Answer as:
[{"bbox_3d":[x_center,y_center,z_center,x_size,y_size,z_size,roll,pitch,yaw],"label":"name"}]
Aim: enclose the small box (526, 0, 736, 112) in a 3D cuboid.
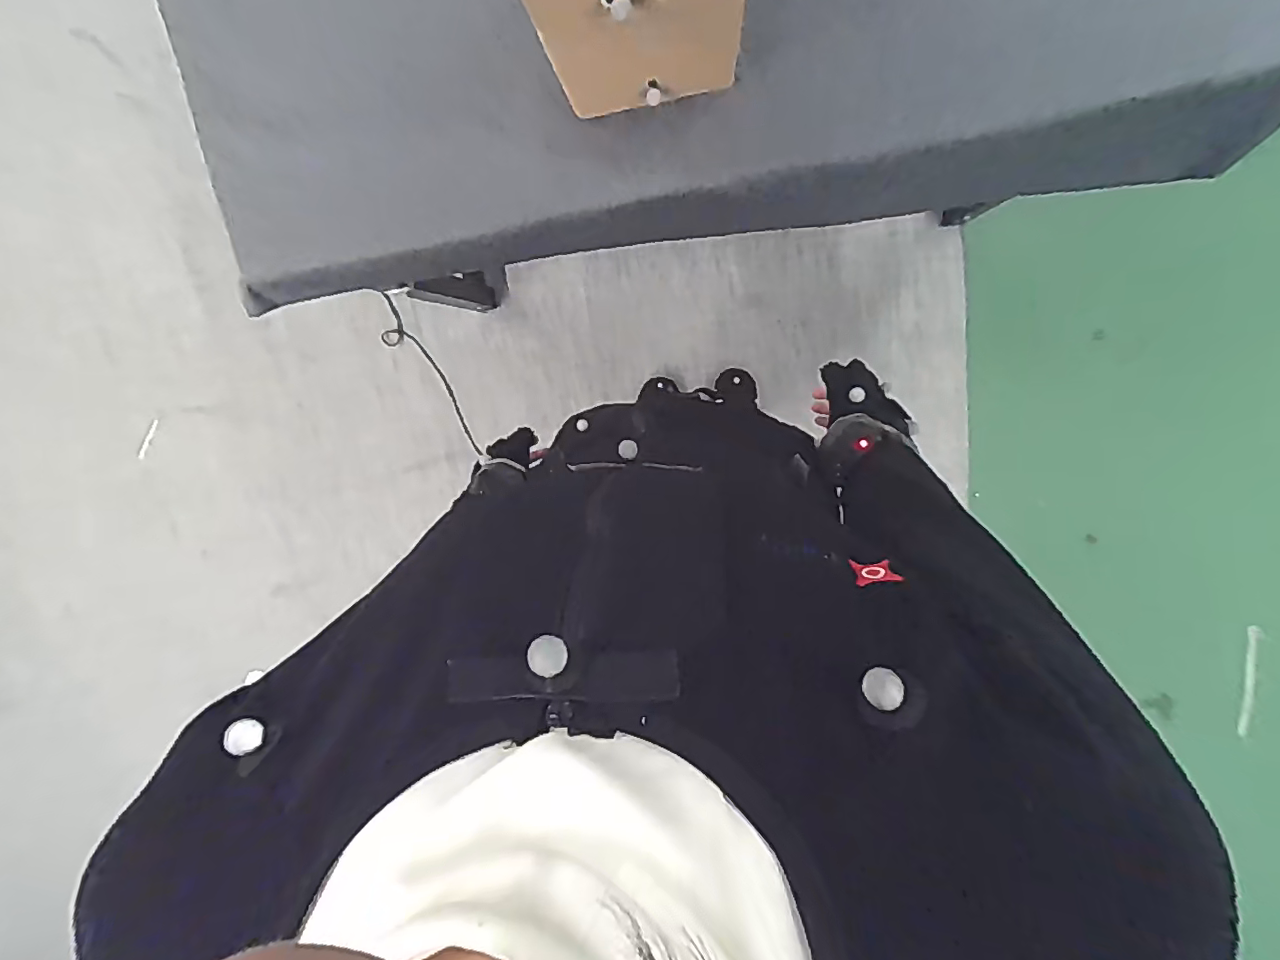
[{"bbox_3d":[-0.010,-0.480,0.502,0.179,0.176,0.168,-7,101,7],"label":"small box"}]
